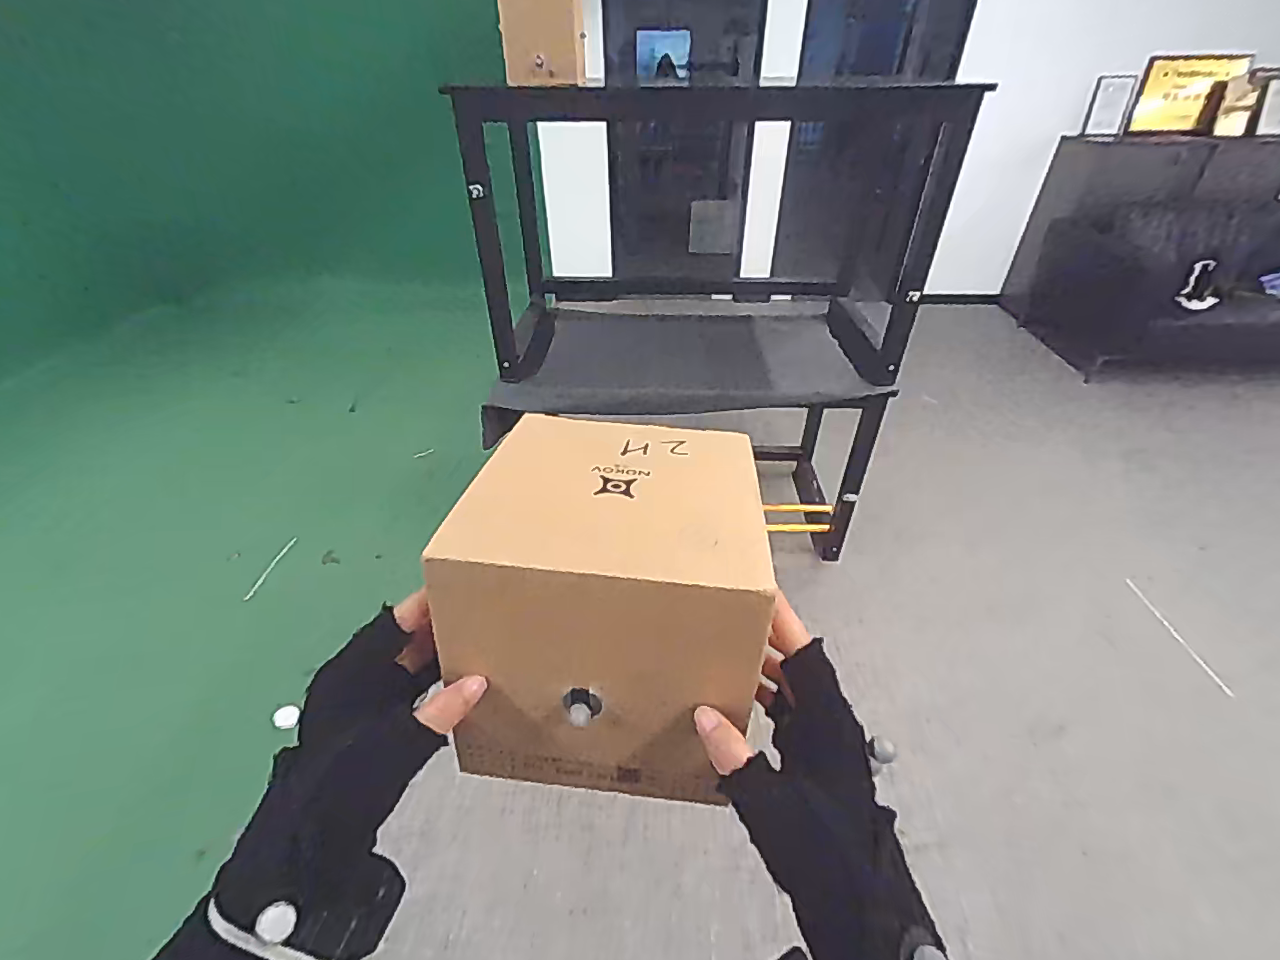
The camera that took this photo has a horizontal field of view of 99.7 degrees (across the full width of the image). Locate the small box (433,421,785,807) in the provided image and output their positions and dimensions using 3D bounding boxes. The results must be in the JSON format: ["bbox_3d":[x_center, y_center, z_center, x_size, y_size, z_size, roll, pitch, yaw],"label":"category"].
[{"bbox_3d":[-0.011,0.077,0.354,0.168,0.176,0.179,6,29,3],"label":"small box"}]
